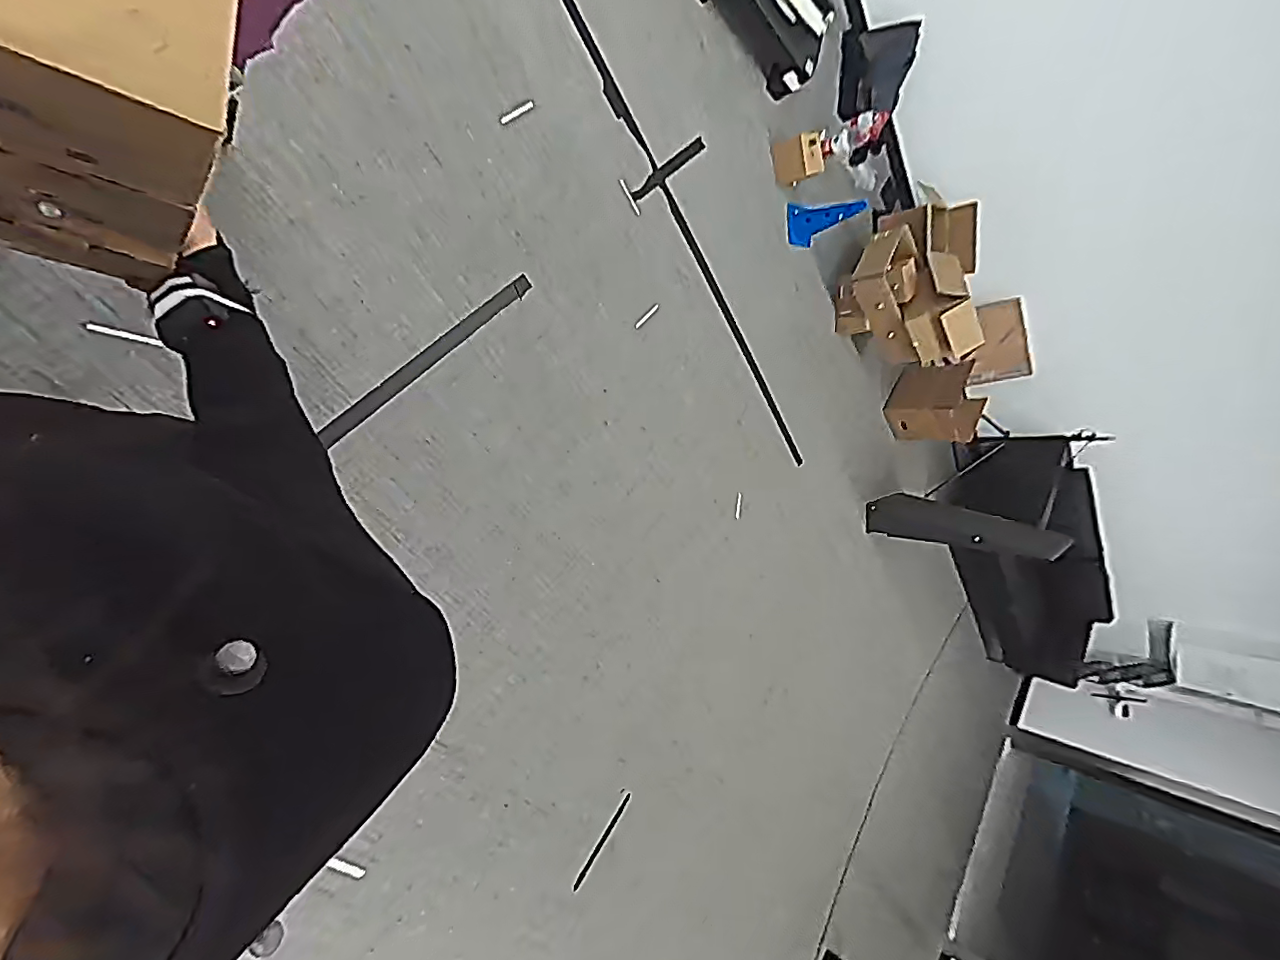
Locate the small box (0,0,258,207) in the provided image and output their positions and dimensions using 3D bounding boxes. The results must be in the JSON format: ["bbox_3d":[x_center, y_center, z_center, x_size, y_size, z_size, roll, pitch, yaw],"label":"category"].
[{"bbox_3d":[-0.319,-0.282,0.298,0.168,0.176,0.179,5,93,-43],"label":"small box"}]

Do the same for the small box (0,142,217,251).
[{"bbox_3d":[-0.427,-0.304,0.418,0.168,0.176,0.179,9,91,-43],"label":"small box"}]
